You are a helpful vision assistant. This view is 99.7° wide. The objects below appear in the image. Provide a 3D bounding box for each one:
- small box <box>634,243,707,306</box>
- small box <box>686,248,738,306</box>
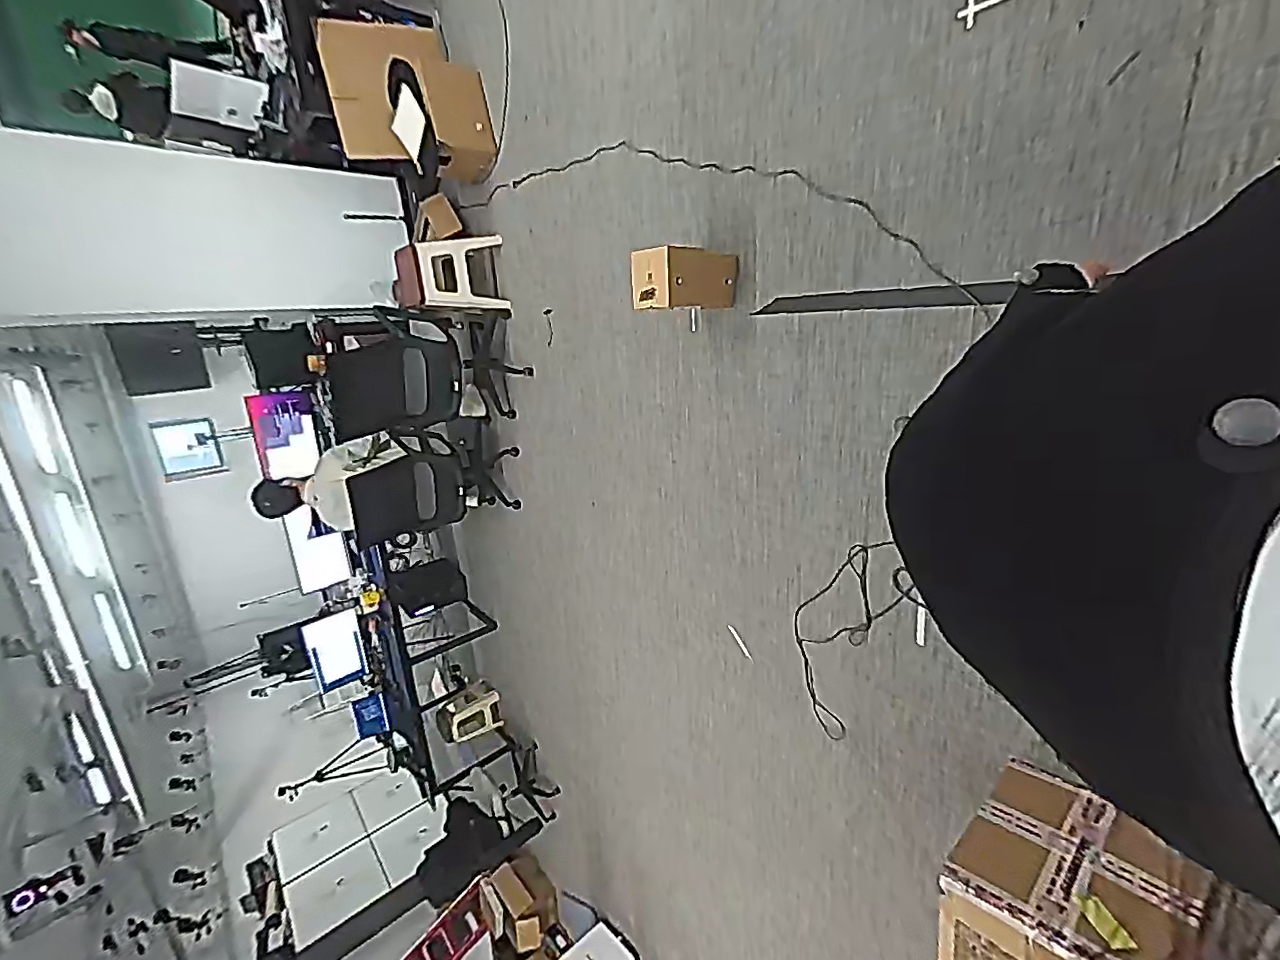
[{"bbox_3d":[0.100,-0.651,1.719,0.168,0.176,0.179,16,115,47],"label":"small box"},{"bbox_3d":[0.214,-0.687,1.834,0.168,0.176,0.179,23,120,44],"label":"small box"}]
